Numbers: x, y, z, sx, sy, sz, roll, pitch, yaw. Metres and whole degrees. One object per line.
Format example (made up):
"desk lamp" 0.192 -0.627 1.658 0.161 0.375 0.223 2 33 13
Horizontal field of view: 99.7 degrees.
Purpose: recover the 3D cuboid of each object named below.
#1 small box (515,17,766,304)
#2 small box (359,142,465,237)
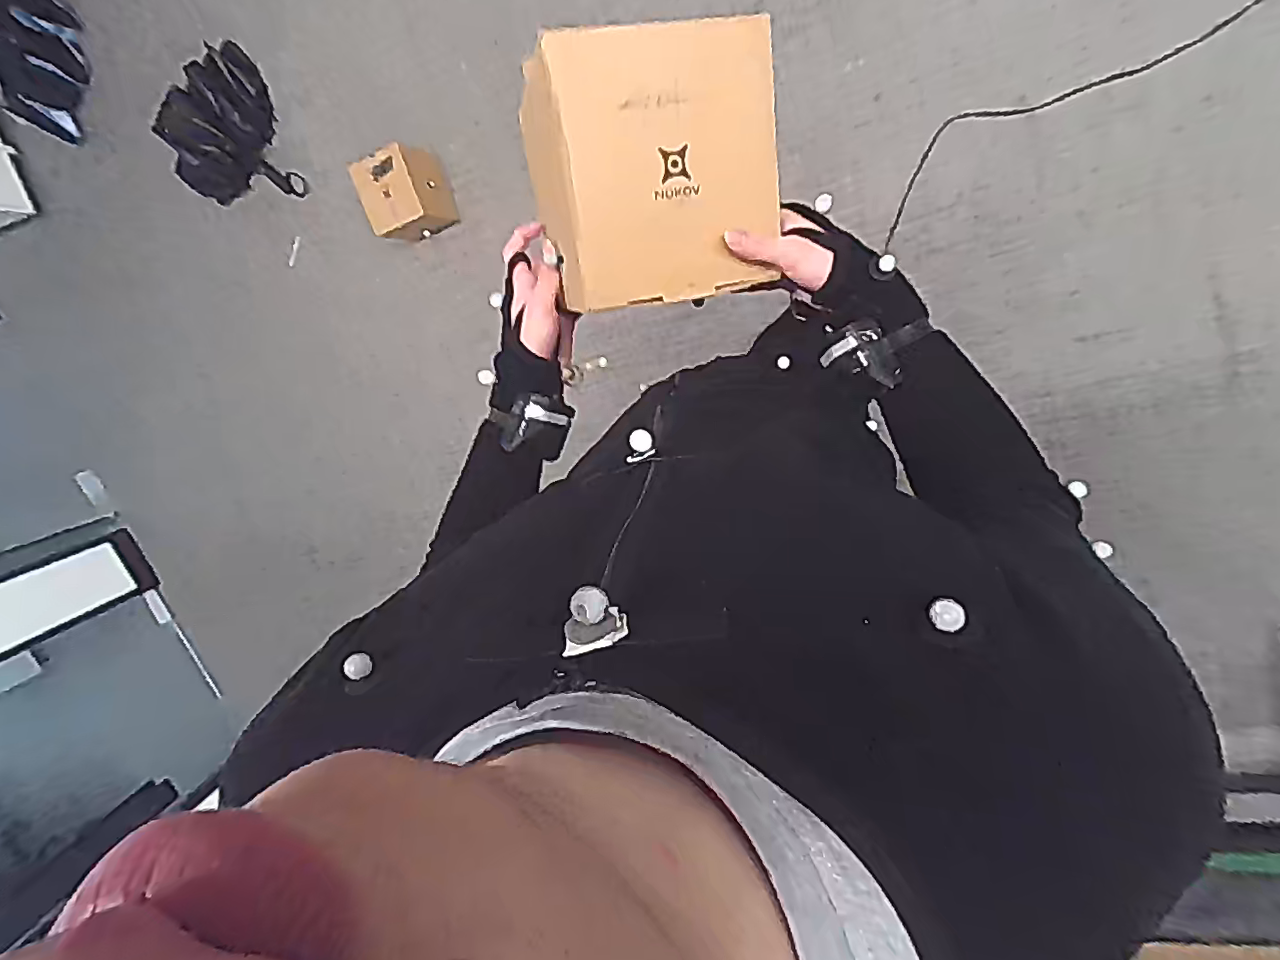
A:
"small box" -0.007 -0.258 0.474 0.168 0.176 0.179 -14 111 -12
"small box" -0.610 -0.776 1.466 0.168 0.176 0.179 -12 107 21
